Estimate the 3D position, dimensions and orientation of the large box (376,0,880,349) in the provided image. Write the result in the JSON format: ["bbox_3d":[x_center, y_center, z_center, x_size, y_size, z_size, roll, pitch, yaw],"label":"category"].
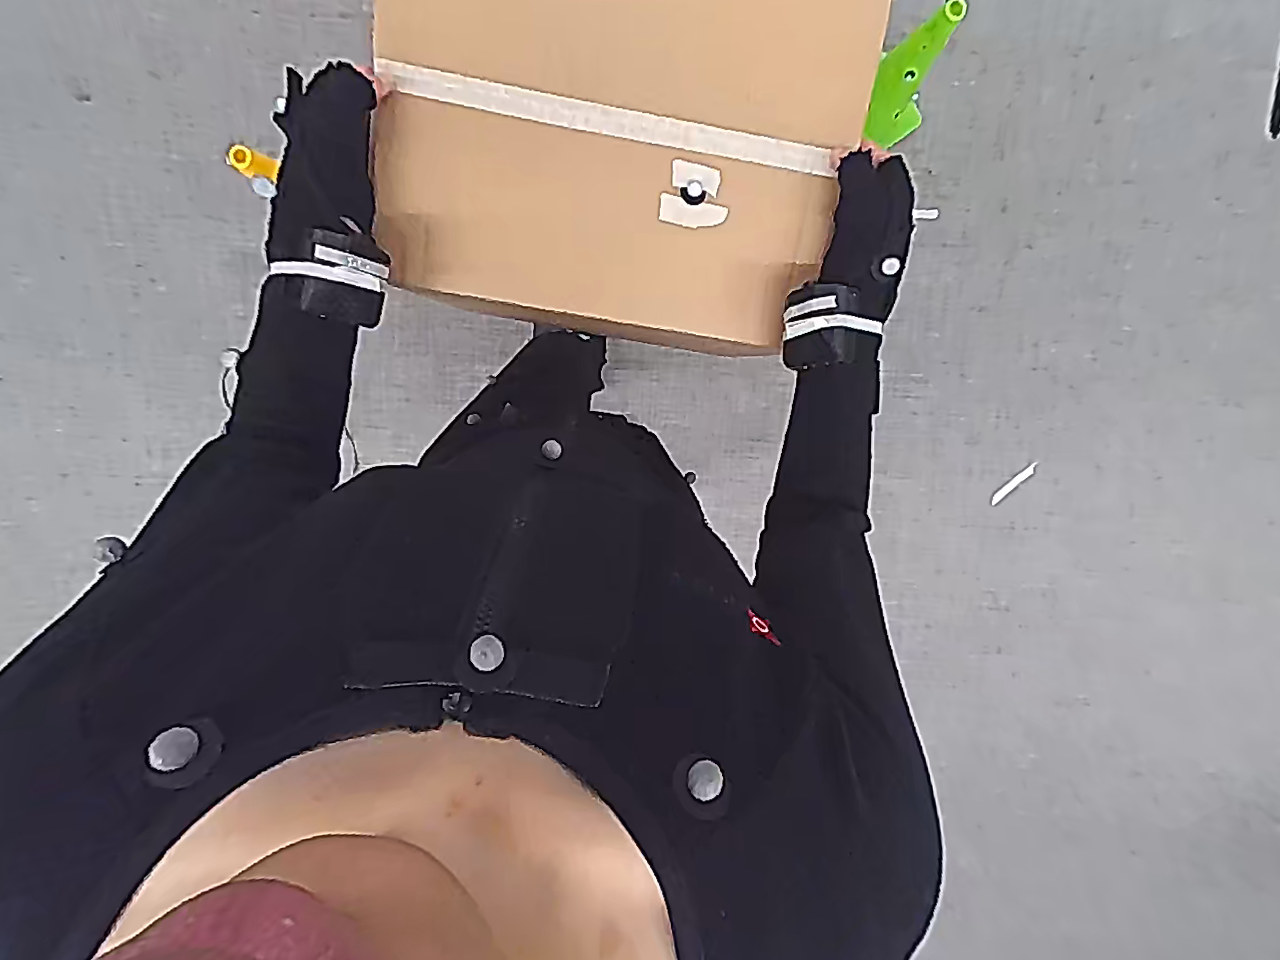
[{"bbox_3d":[-0.024,-0.334,0.602,0.408,0.320,0.320,8,102,-6],"label":"large box"}]

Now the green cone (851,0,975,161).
[{"bbox_3d":[0.585,-0.900,1.168,0.202,0.368,0.200,-35,98,2],"label":"green cone"}]
